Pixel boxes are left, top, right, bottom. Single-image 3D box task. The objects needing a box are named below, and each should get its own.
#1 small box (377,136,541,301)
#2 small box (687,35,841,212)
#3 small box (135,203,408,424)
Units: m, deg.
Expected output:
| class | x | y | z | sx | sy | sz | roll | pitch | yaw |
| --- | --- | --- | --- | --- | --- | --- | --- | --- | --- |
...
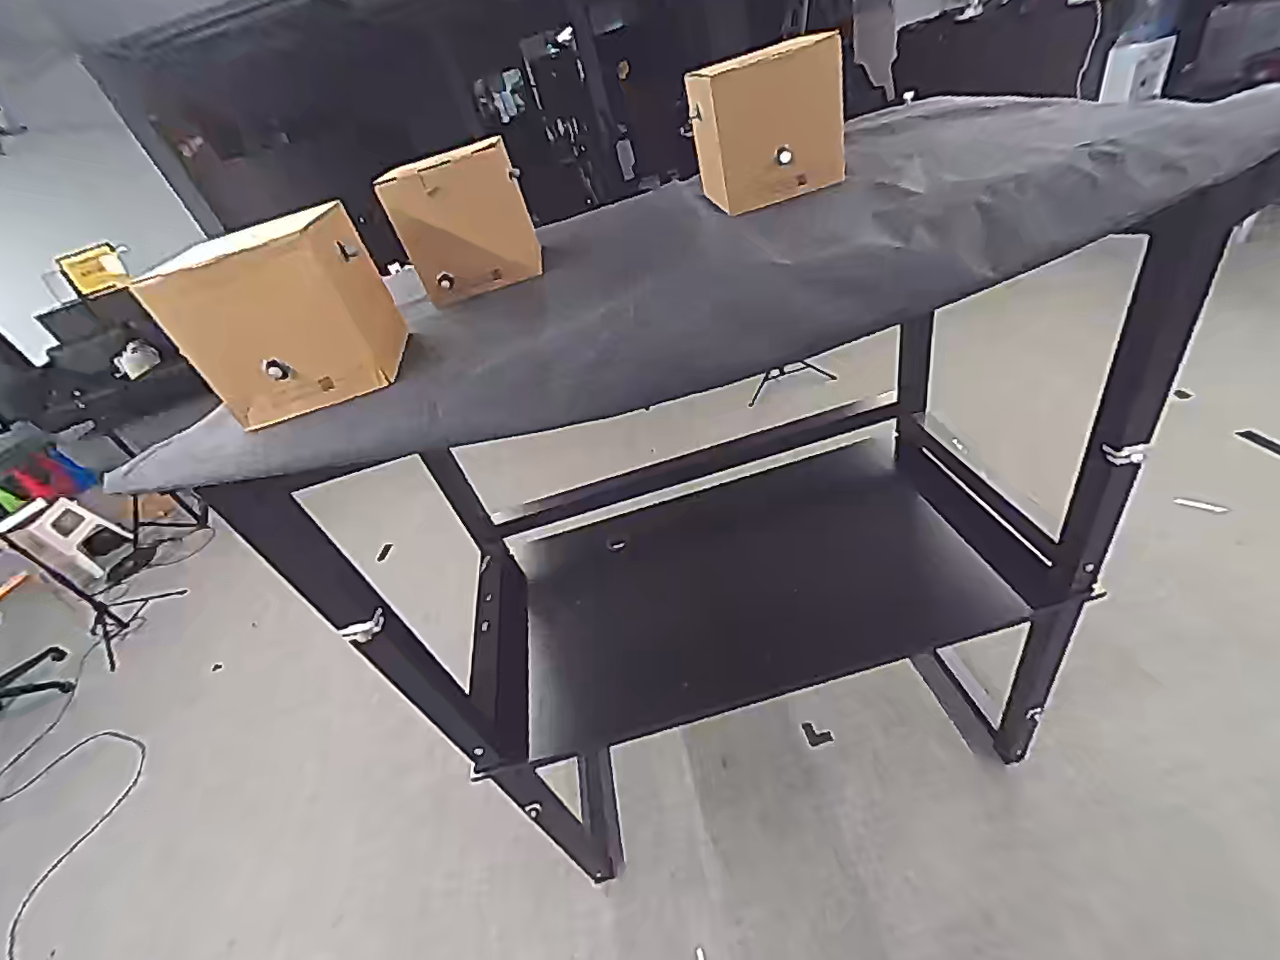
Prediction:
| class | x | y | z | sx | sy | sz | roll | pitch | yaw |
| --- | --- | --- | --- | --- | --- | --- | --- | --- | --- |
| small box | -0.251 | -0.383 | 0.801 | 0.168 | 0.176 | 0.179 | -17 | 36 | 1 |
| small box | 0.175 | -0.504 | 0.776 | 0.168 | 0.176 | 0.179 | -16 | 37 | 4 |
| small box | -0.385 | -0.190 | 0.611 | 0.168 | 0.176 | 0.179 | -19 | 38 | -2 |
